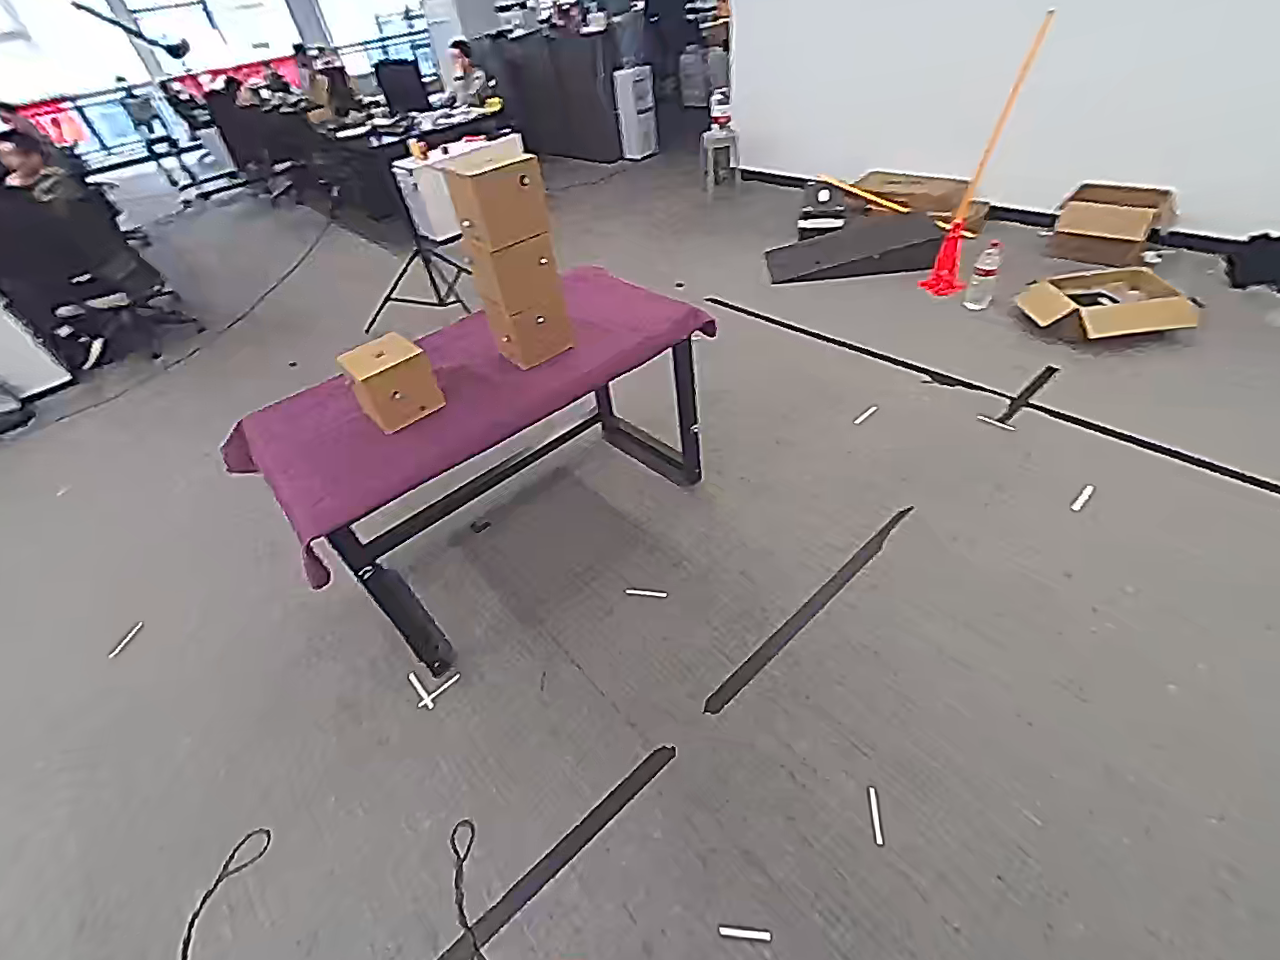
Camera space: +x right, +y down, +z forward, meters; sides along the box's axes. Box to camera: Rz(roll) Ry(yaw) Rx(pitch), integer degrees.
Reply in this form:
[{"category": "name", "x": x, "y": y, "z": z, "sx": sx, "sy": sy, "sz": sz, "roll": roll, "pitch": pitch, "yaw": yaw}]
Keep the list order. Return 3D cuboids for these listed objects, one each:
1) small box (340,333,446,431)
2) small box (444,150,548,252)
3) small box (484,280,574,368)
[{"category": "small box", "x": -0.635, "y": -0.251, "z": 1.406, "sx": 0.168, "sy": 0.176, "sz": 0.179, "roll": -36, "pitch": 48, "yaw": -25}, {"category": "small box", "x": -0.344, "y": -0.686, "z": 1.329, "sx": 0.179, "sy": 0.176, "sz": 0.168, "roll": -34, "pitch": 48, "yaw": -23}, {"category": "small box", "x": -0.313, "y": -0.445, "z": 1.552, "sx": 0.179, "sy": 0.176, "sz": 0.168, "roll": -33, "pitch": 48, "yaw": -24}]
